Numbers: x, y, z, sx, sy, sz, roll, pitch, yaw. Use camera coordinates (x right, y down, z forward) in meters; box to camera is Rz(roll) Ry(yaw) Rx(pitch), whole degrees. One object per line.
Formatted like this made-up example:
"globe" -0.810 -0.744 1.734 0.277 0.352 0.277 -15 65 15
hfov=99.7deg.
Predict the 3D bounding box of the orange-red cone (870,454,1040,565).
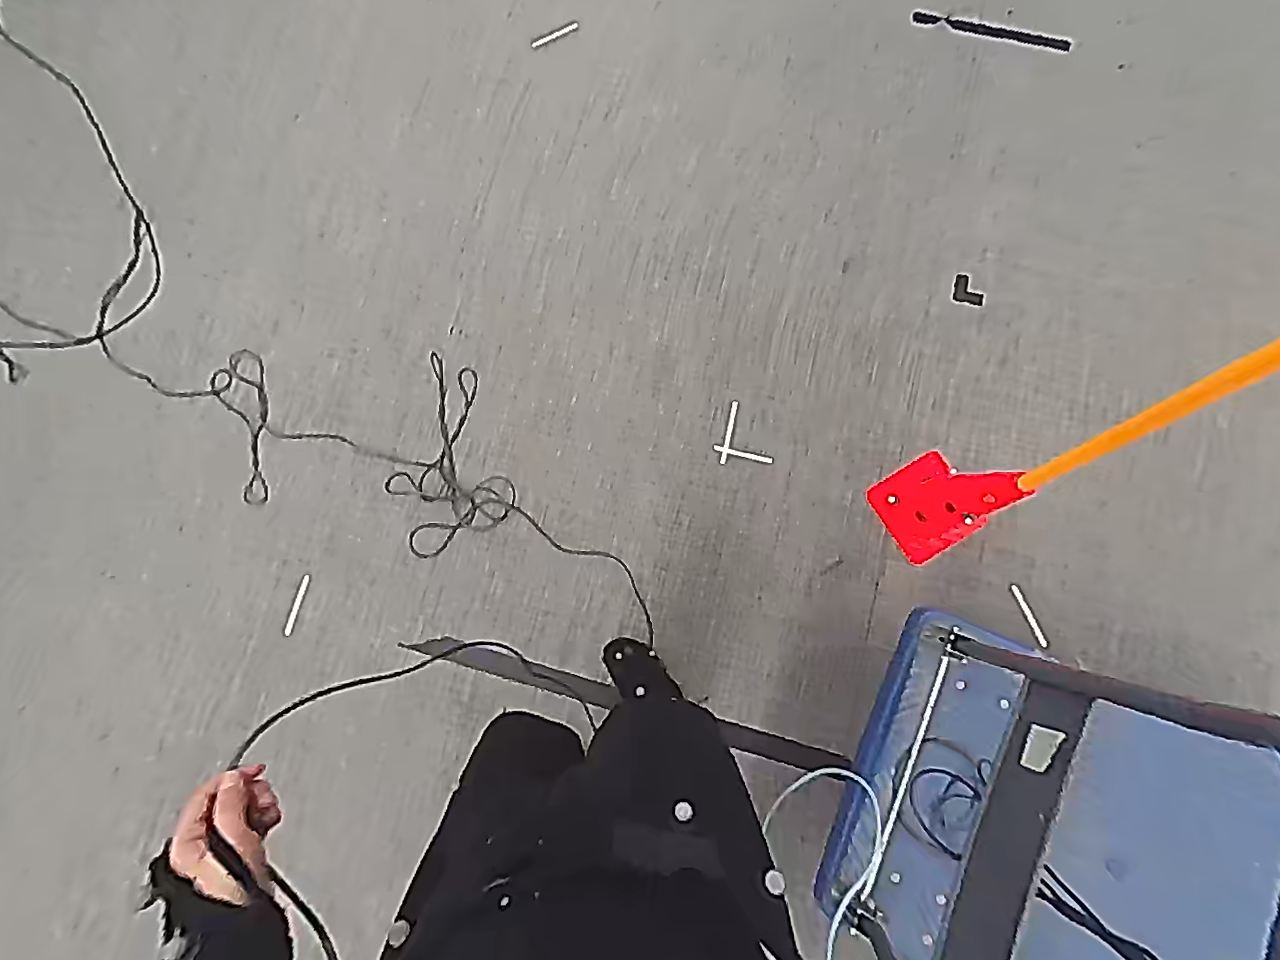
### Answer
"orange-red cone" 0.626 0.039 1.027 0.198 0.360 0.199 -30 82 -1
